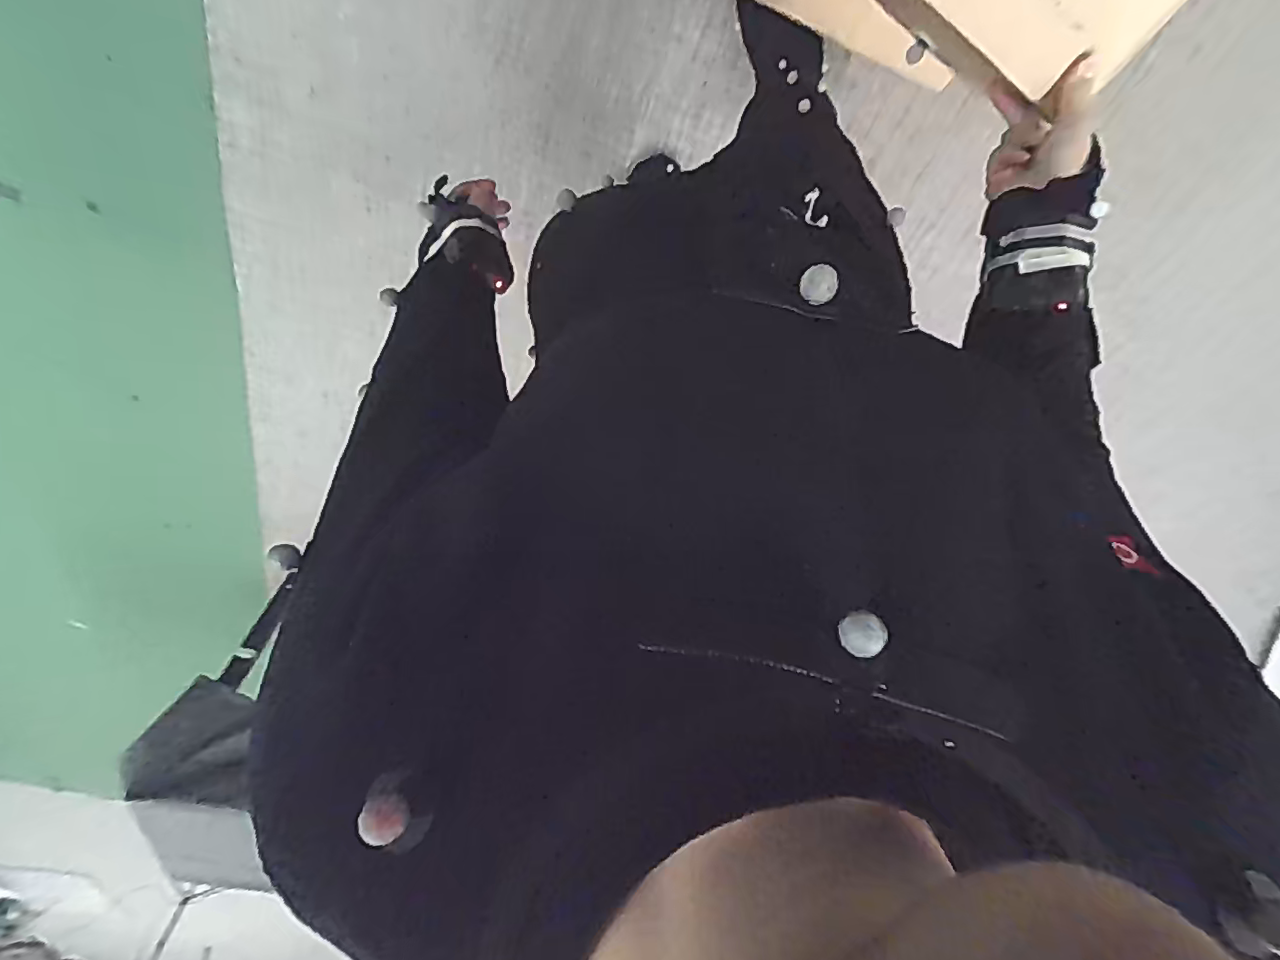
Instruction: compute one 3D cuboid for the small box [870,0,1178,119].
[{"bbox_3d":[0.311,-0.425,0.413,0.168,0.176,0.179,24,129,-17],"label":"small box"}]
